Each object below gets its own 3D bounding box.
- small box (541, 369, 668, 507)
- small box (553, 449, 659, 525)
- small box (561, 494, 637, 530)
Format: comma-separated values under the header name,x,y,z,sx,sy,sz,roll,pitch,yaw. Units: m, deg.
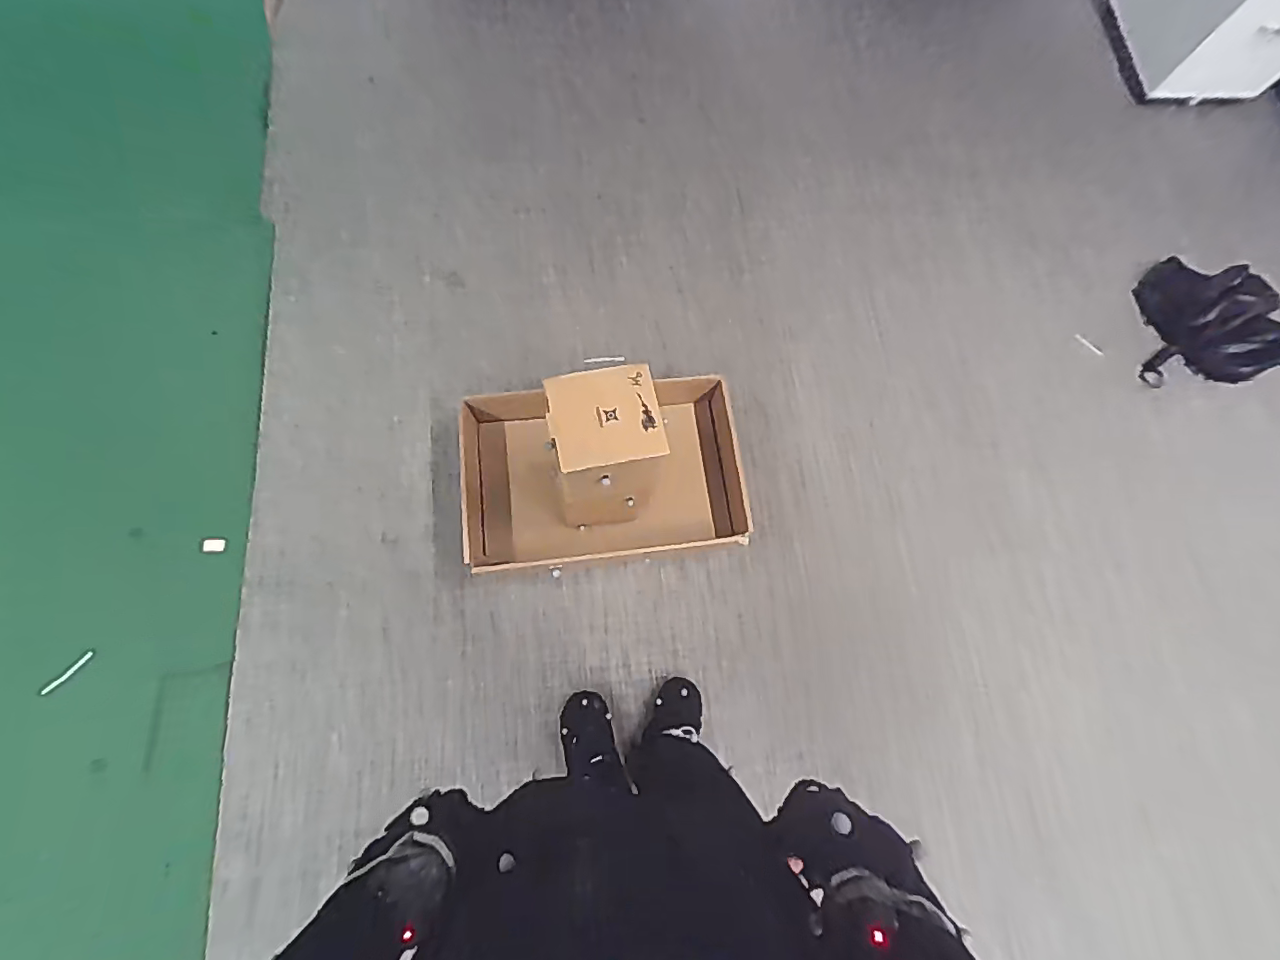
name,x,y,z,sx,sy,sz,roll,pitch,yaw
small box,-0.062,-0.065,0.940,0.179,0.176,0.168,-13,72,-9
small box,-0.075,-0.020,1.077,0.179,0.176,0.168,-12,74,-9
small box,-0.096,0.015,1.251,0.168,0.176,0.179,-7,74,-6
